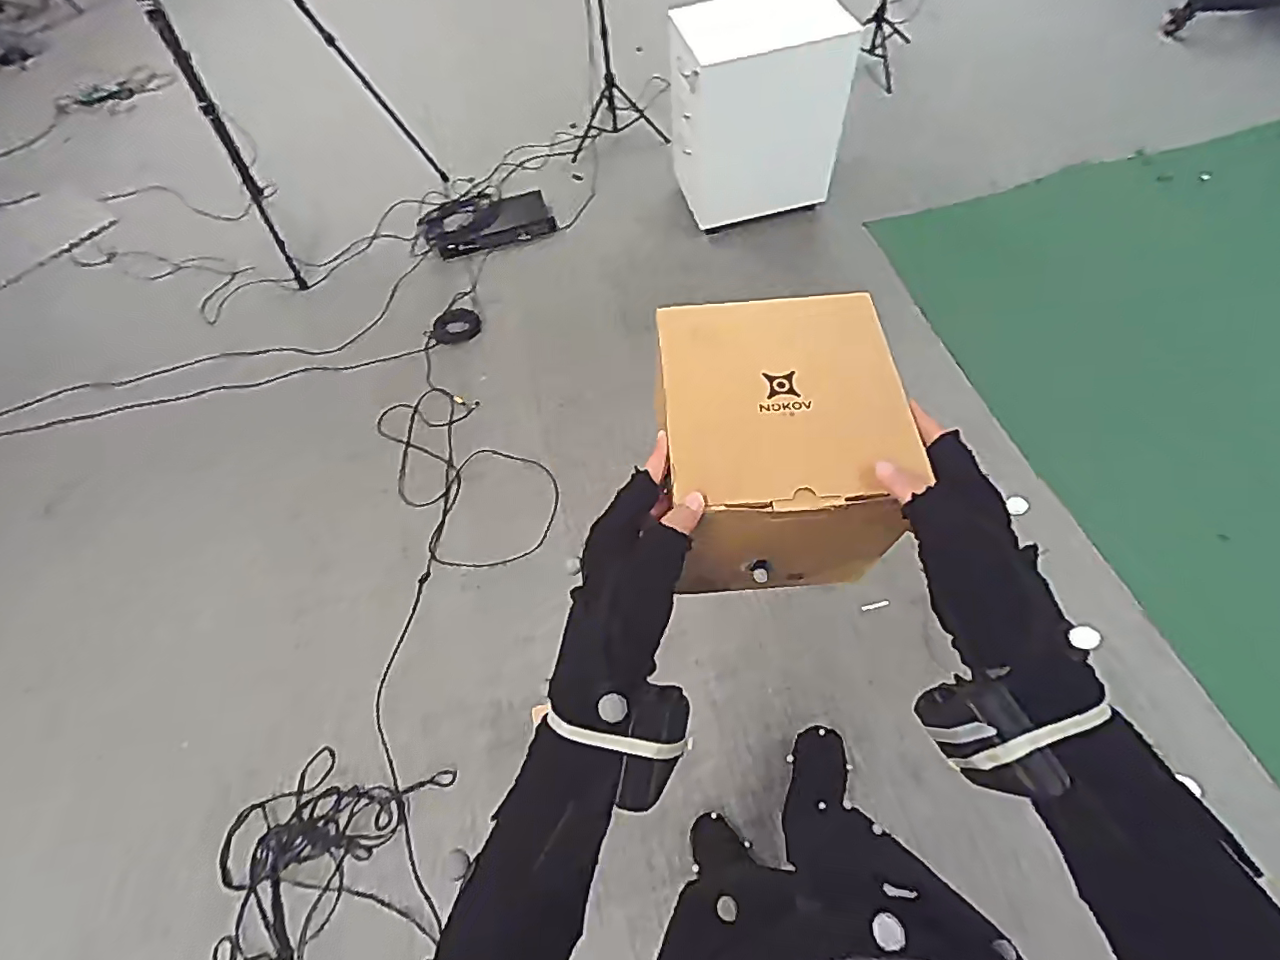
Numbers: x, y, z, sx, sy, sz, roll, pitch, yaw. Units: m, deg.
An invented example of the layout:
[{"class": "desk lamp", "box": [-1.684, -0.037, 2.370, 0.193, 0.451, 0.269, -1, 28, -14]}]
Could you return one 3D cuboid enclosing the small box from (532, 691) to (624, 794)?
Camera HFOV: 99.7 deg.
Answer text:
[{"class": "small box", "box": [-0.138, 0.600, 1.236, 0.168, 0.176, 0.179, -14, 60, -2]}]
